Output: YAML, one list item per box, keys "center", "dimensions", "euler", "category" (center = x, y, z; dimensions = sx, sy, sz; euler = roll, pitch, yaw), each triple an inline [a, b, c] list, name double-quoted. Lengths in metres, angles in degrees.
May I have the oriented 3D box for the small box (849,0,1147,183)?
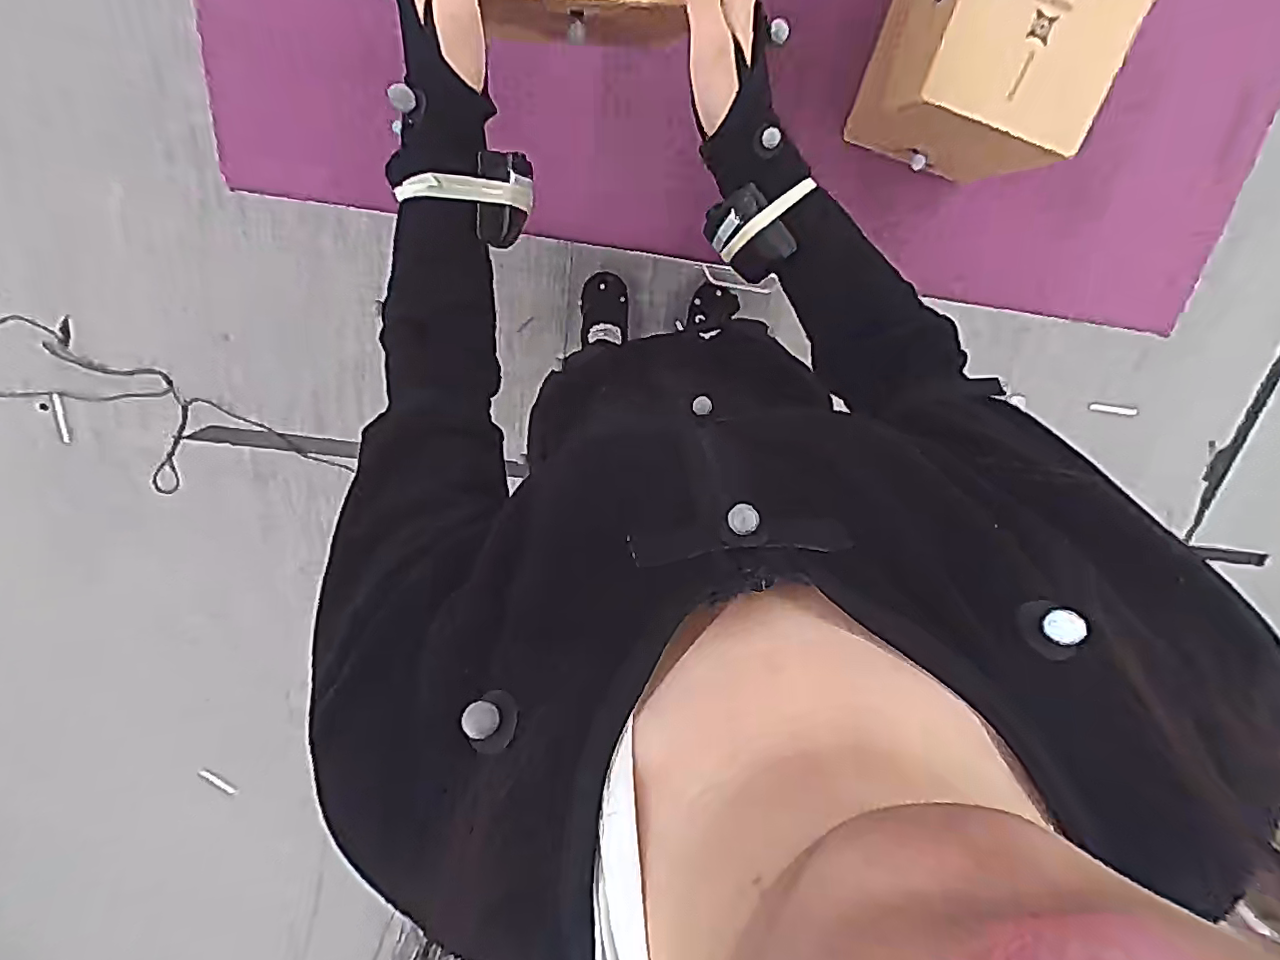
- center: [0.339, -0.425, 0.540]
  dimensions: [0.168, 0.176, 0.179]
  euler: [14, 110, -9]
  category: "small box"

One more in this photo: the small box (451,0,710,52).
- center: [-0.048, -0.423, 0.384]
  dimensions: [0.179, 0.176, 0.168]
  euler: [-3, 121, -7]
  category: "small box"
